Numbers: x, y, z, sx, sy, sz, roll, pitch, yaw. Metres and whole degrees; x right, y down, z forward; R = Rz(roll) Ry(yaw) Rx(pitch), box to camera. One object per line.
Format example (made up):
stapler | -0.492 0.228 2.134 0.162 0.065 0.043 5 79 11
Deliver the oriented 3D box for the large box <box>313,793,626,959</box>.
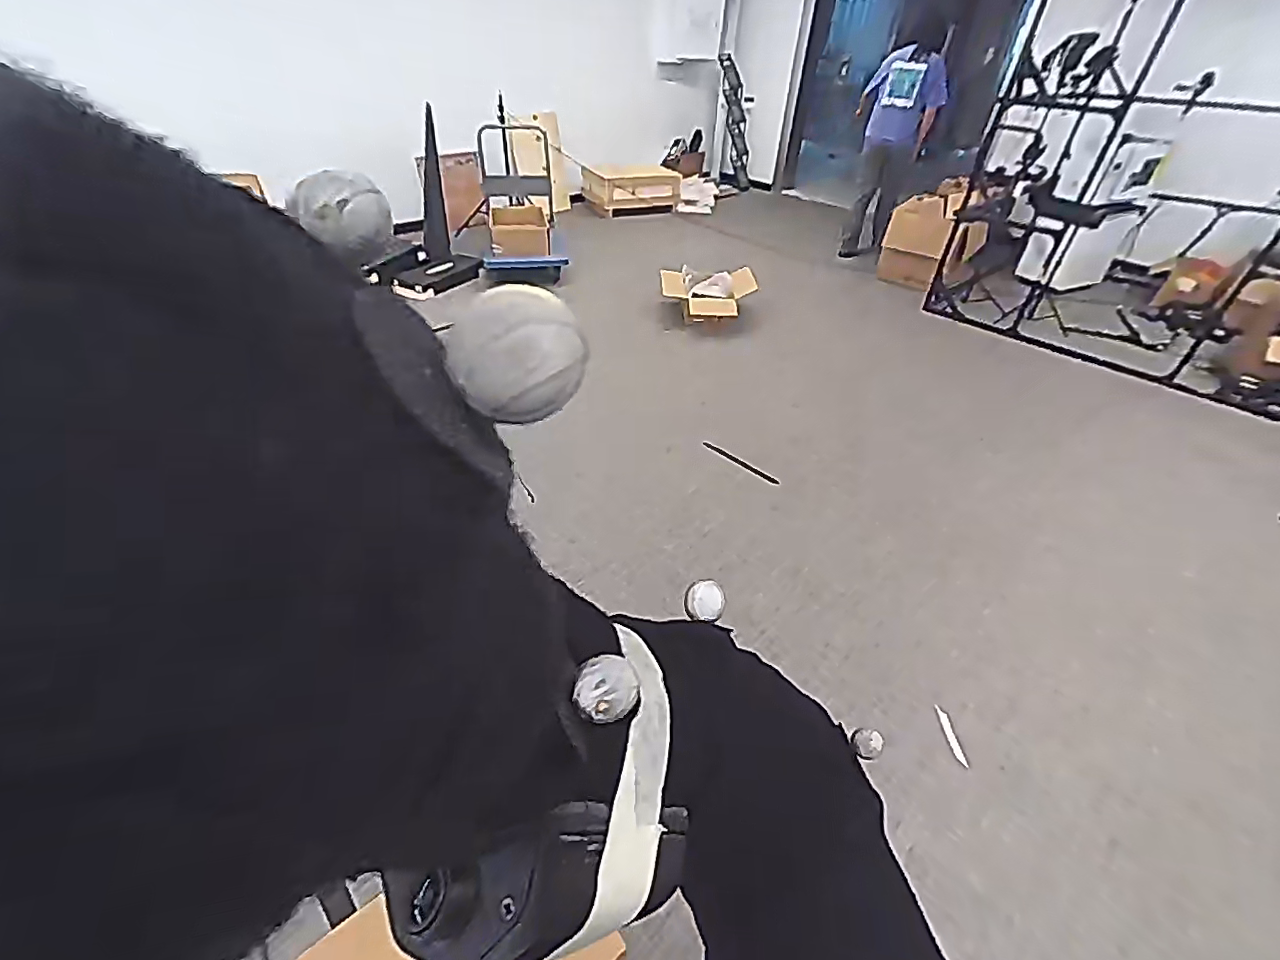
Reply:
large box | -0.272 0.856 0.926 0.408 0.320 0.320 -26 46 -31
